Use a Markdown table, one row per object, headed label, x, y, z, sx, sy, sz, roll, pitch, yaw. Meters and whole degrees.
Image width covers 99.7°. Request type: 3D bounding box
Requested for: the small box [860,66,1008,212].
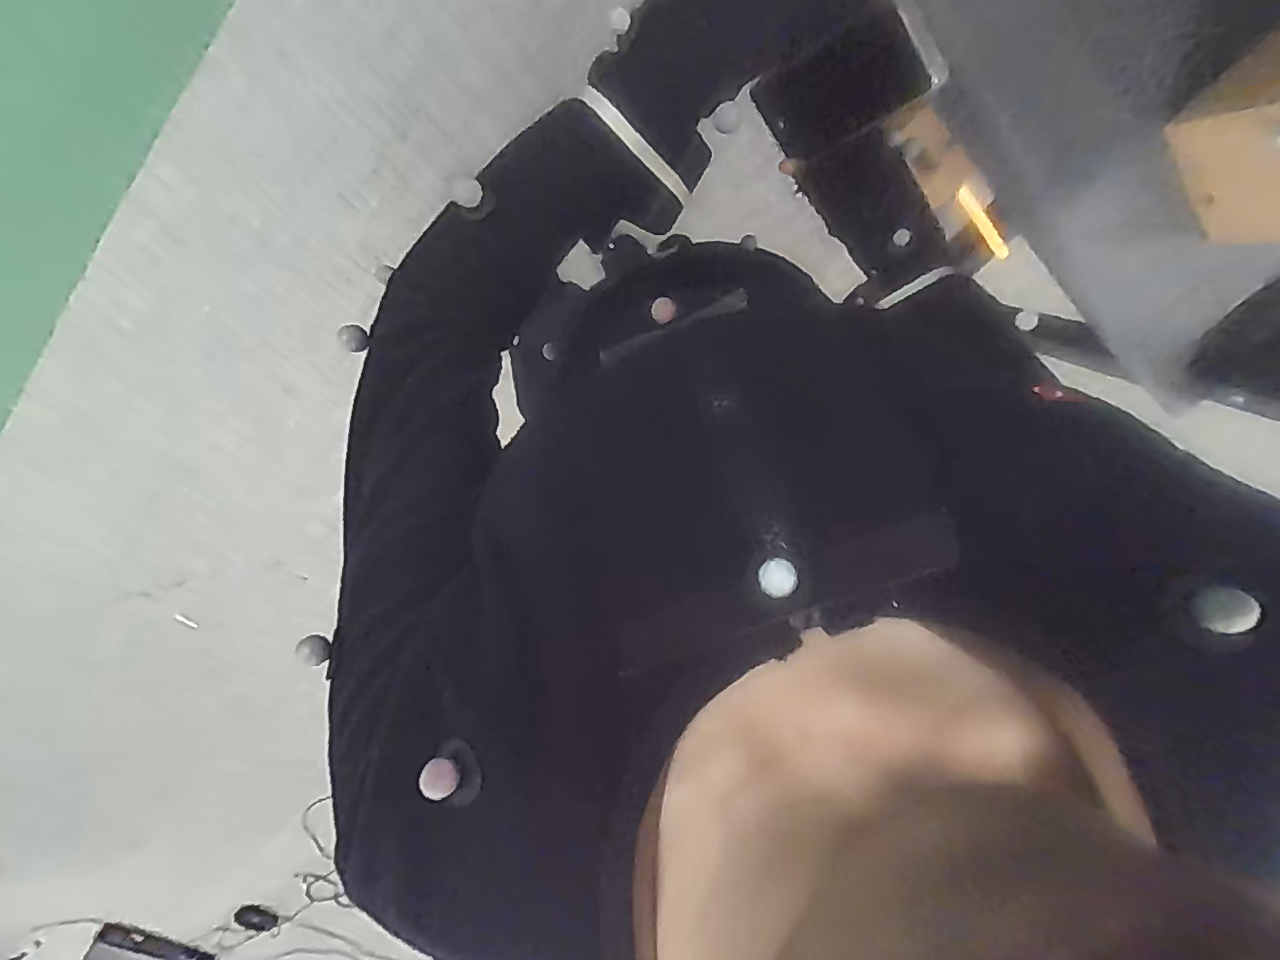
| label | x | y | z | sx | sy | sz | roll | pitch | yaw |
| --- | --- | --- | --- | --- | --- | --- | --- | --- | --- |
| small box | 0.566 | -0.660 | 1.072 | 0.179 | 0.176 | 0.168 | -41 | 112 | 15 |
